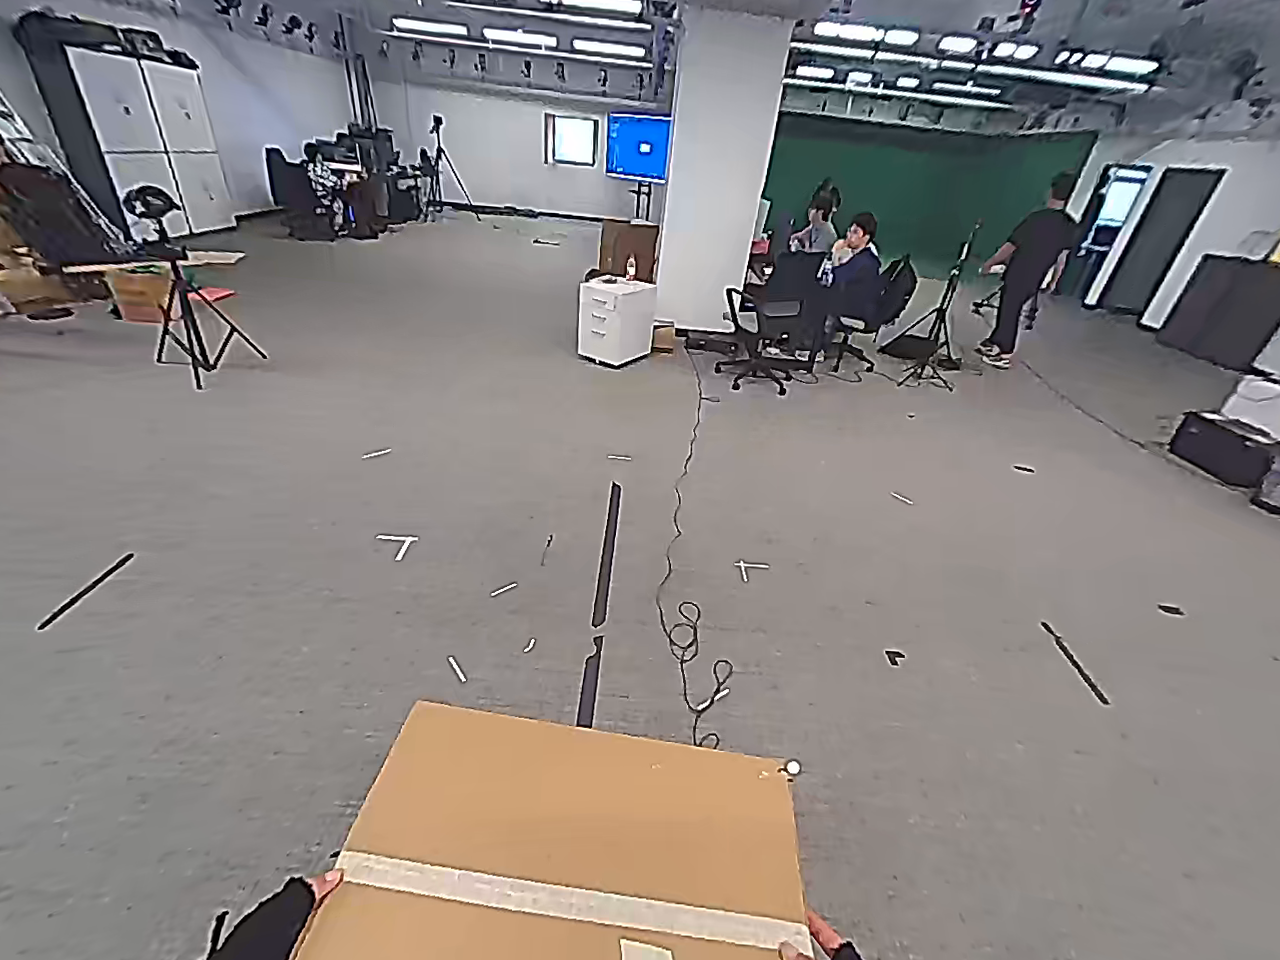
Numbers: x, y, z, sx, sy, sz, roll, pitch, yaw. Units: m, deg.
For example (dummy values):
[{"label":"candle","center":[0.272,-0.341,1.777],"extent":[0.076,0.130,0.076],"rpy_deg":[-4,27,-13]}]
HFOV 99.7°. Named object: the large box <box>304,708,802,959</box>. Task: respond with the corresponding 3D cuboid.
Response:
[{"label":"large box","center":[-0.079,0.485,0.552],"extent":[0.408,0.320,0.320],"rpy_deg":[10,35,0]}]
